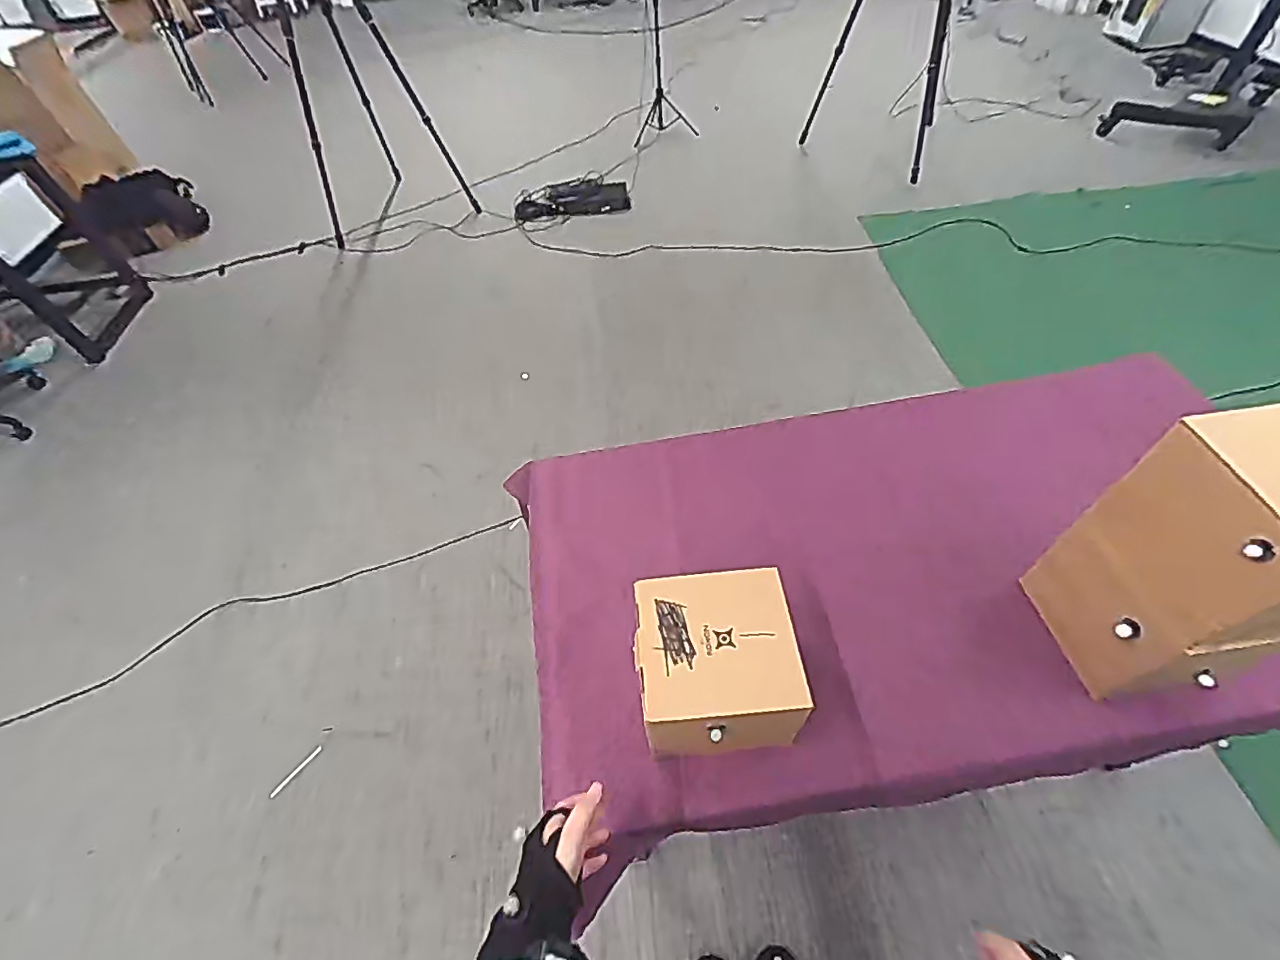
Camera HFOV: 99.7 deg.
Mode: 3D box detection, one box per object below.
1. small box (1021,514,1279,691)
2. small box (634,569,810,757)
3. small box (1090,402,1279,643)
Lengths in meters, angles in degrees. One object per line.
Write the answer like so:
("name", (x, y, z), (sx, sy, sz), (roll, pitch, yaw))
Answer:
("small box", (0.632, 0.149, 0.672), (0.168, 0.176, 0.179), (-8, 52, -1))
("small box", (0.090, 0.229, 0.664), (0.179, 0.176, 0.168), (-5, 52, 0))
("small box", (0.623, 0.043, 0.549), (0.168, 0.176, 0.179), (-8, 53, -1))
